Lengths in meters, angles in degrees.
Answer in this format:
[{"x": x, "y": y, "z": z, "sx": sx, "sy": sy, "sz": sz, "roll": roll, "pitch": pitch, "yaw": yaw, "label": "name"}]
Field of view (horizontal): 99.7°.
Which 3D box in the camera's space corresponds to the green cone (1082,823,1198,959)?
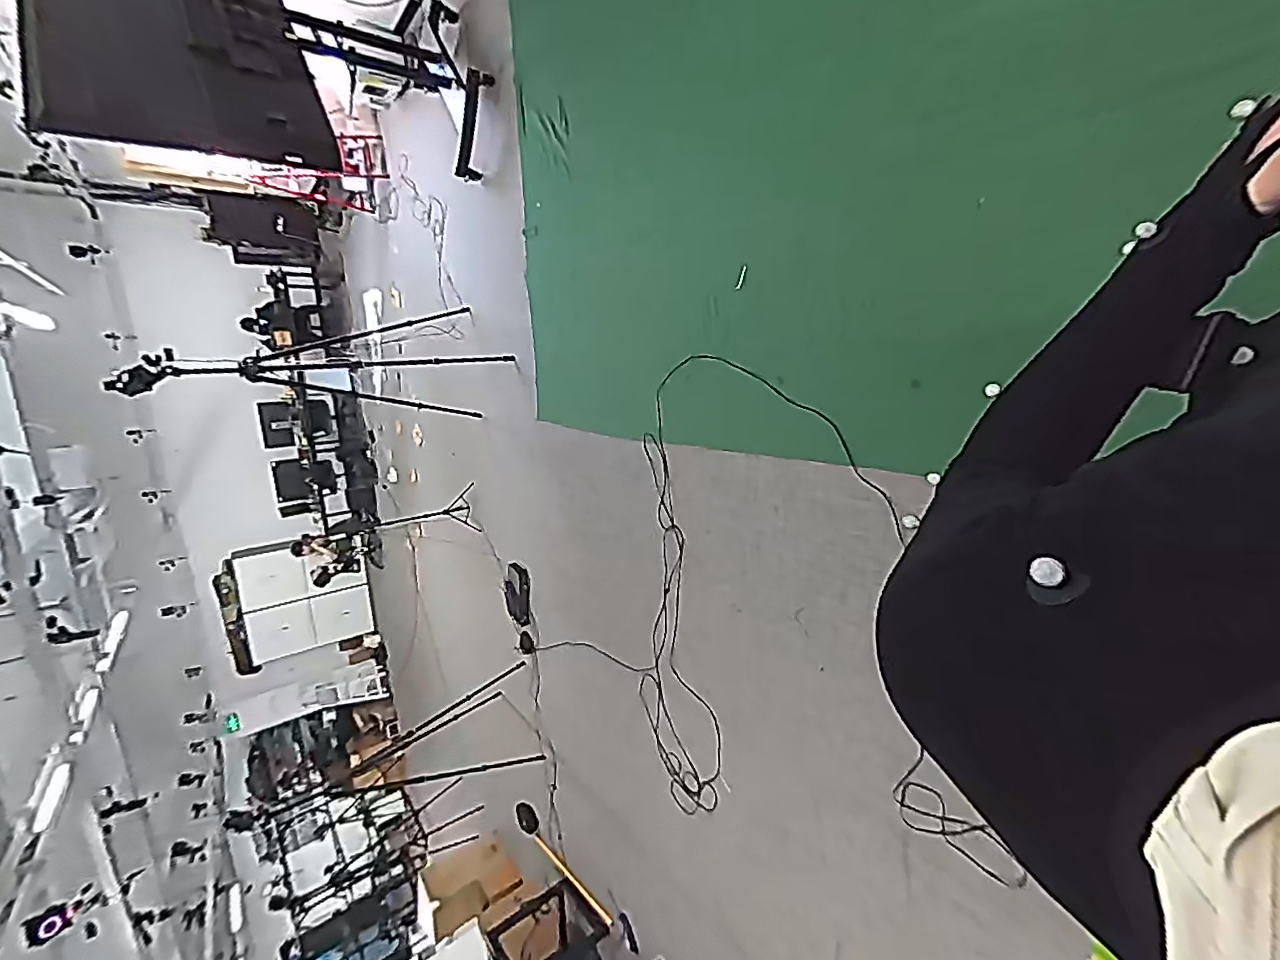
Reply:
[{"x": 1.120, "y": 1.027, "z": 1.262, "sx": 0.202, "sy": 0.368, "sz": 0.200, "roll": 15, "pitch": 110, "yaw": 51, "label": "green cone"}]
